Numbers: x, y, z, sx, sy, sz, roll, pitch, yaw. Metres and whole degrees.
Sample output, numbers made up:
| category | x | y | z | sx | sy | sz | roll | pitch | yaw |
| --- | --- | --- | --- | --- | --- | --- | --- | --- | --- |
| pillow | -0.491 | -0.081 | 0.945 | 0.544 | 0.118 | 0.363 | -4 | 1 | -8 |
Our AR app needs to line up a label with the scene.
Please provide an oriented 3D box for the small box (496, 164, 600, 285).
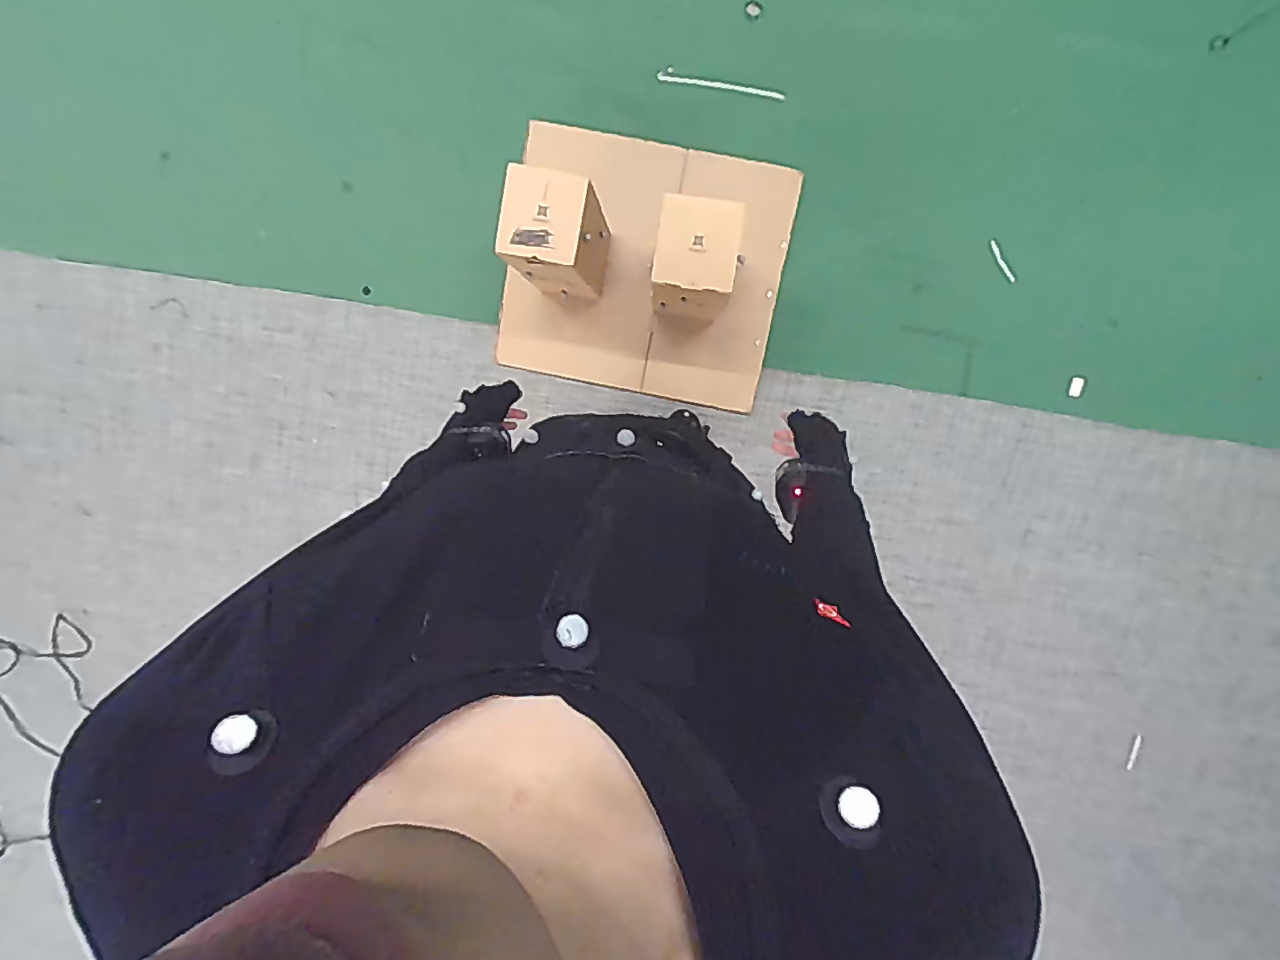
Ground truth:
| category | x | y | z | sx | sy | sz | roll | pitch | yaw |
| --- | --- | --- | --- | --- | --- | --- | --- | --- | --- |
| small box | -0.187 | -0.526 | 1.142 | 0.168 | 0.176 | 0.179 | 12 | 97 | 2 |

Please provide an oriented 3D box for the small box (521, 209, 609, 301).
| category | x | y | z | sx | sy | sz | roll | pitch | yaw |
| --- | --- | --- | --- | --- | --- | --- | --- | --- | --- |
| small box | -0.175 | -0.547 | 1.305 | 0.168 | 0.176 | 0.179 | 10 | 98 | 3 |

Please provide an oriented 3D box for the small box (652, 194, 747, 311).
| category | x | y | z | sx | sy | sz | roll | pitch | yaw |
| --- | --- | --- | --- | --- | --- | --- | --- | --- | --- |
| small box | 0.119 | -0.469 | 1.136 | 0.168 | 0.176 | 0.179 | 8 | 98 | 2 |
